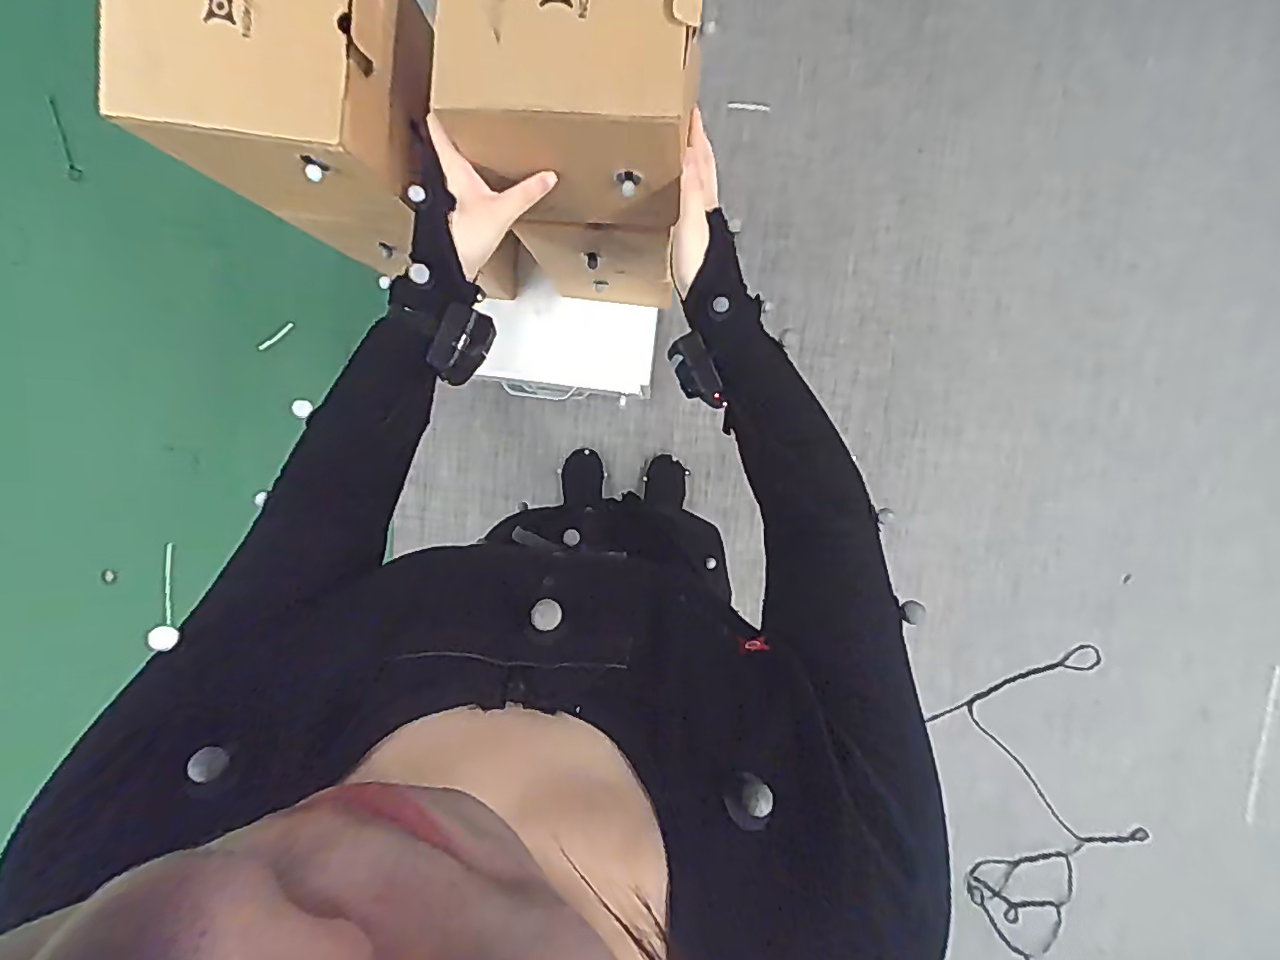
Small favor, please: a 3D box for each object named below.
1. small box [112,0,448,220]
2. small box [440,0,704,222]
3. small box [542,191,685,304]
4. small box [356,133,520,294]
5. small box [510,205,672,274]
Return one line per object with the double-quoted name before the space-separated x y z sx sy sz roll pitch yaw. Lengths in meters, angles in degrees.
"small box" -0.280 -0.340 0.458 0.179 0.176 0.168 7 96 -2
"small box" -0.040 -0.333 0.447 0.179 0.176 0.168 6 92 4
"small box" -0.032 -0.361 0.782 0.179 0.176 0.168 7 97 0
"small box" -0.279 -0.378 0.784 0.179 0.176 0.168 7 97 -2
"small box" -0.044 -0.345 0.617 0.168 0.176 0.179 4 97 0
